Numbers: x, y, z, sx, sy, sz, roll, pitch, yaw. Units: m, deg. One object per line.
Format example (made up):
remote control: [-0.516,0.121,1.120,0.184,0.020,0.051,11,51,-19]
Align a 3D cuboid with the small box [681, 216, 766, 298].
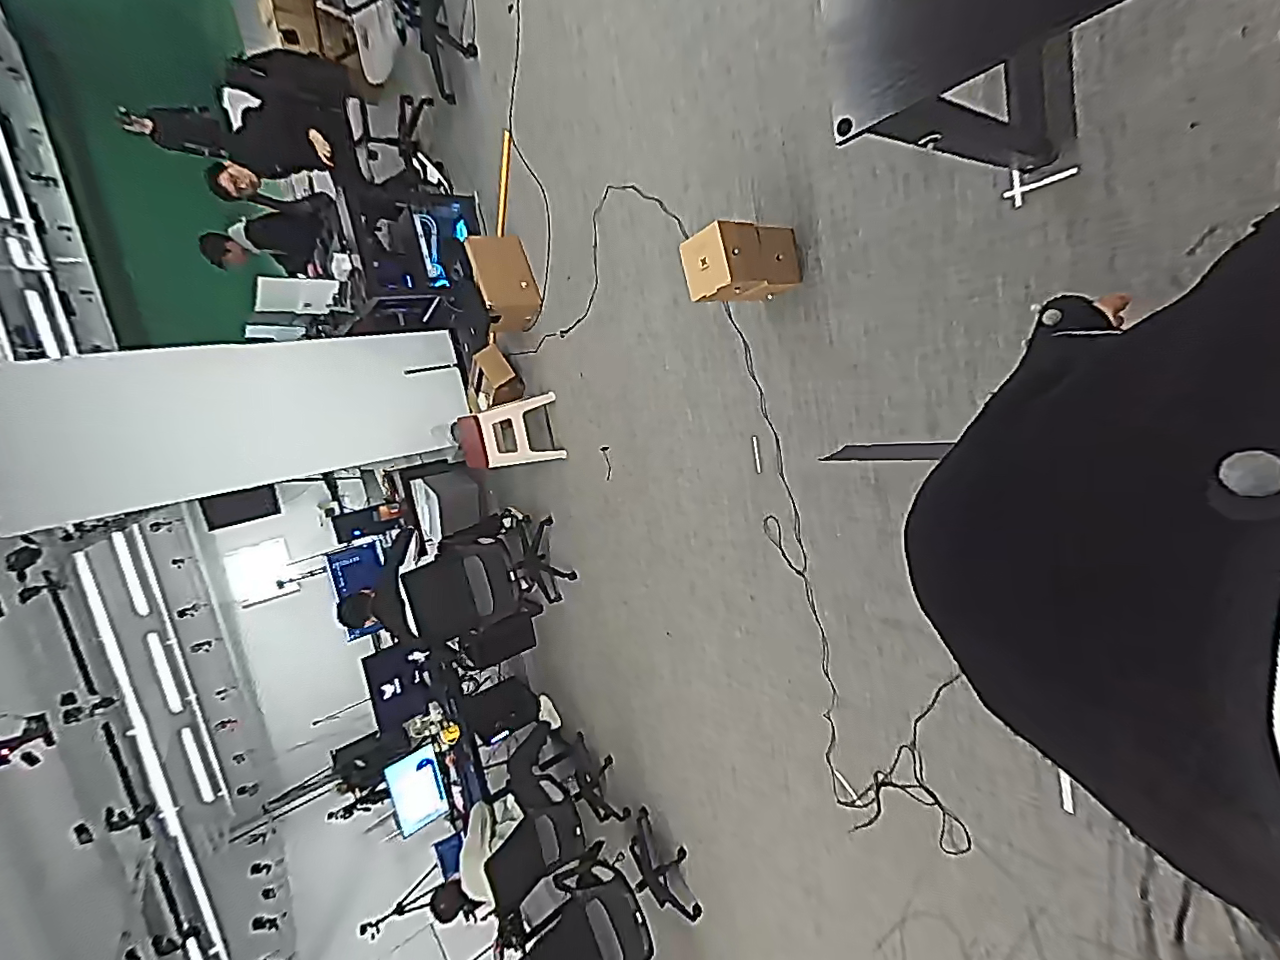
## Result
small box: [0.251,-0.655,1.599,0.168,0.176,0.179,-9,95,53]

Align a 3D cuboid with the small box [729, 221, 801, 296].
small box: [0.379,-0.688,1.694,0.168,0.176,0.179,-3,102,54]
